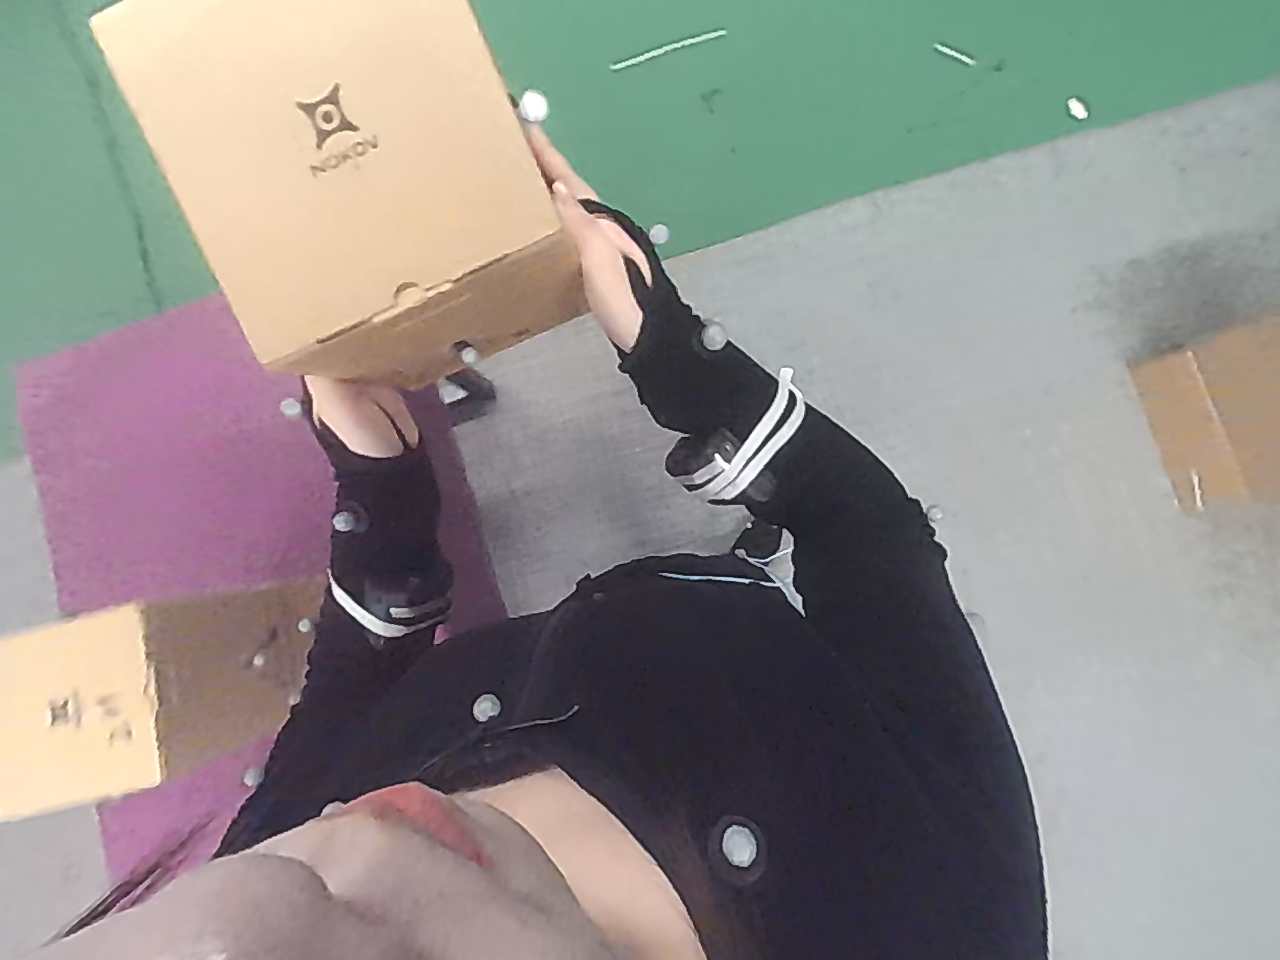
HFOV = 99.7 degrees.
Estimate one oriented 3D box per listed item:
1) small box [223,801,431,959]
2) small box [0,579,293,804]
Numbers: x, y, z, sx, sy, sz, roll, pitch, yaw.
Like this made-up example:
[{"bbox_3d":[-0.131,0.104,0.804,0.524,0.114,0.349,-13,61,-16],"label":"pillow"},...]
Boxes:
[{"bbox_3d":[-0.397,0.558,0.711,0.179,0.176,0.168,-16,83,3],"label":"small box"},{"bbox_3d":[-0.524,0.211,0.584,0.179,0.176,0.168,-14,85,4],"label":"small box"}]
